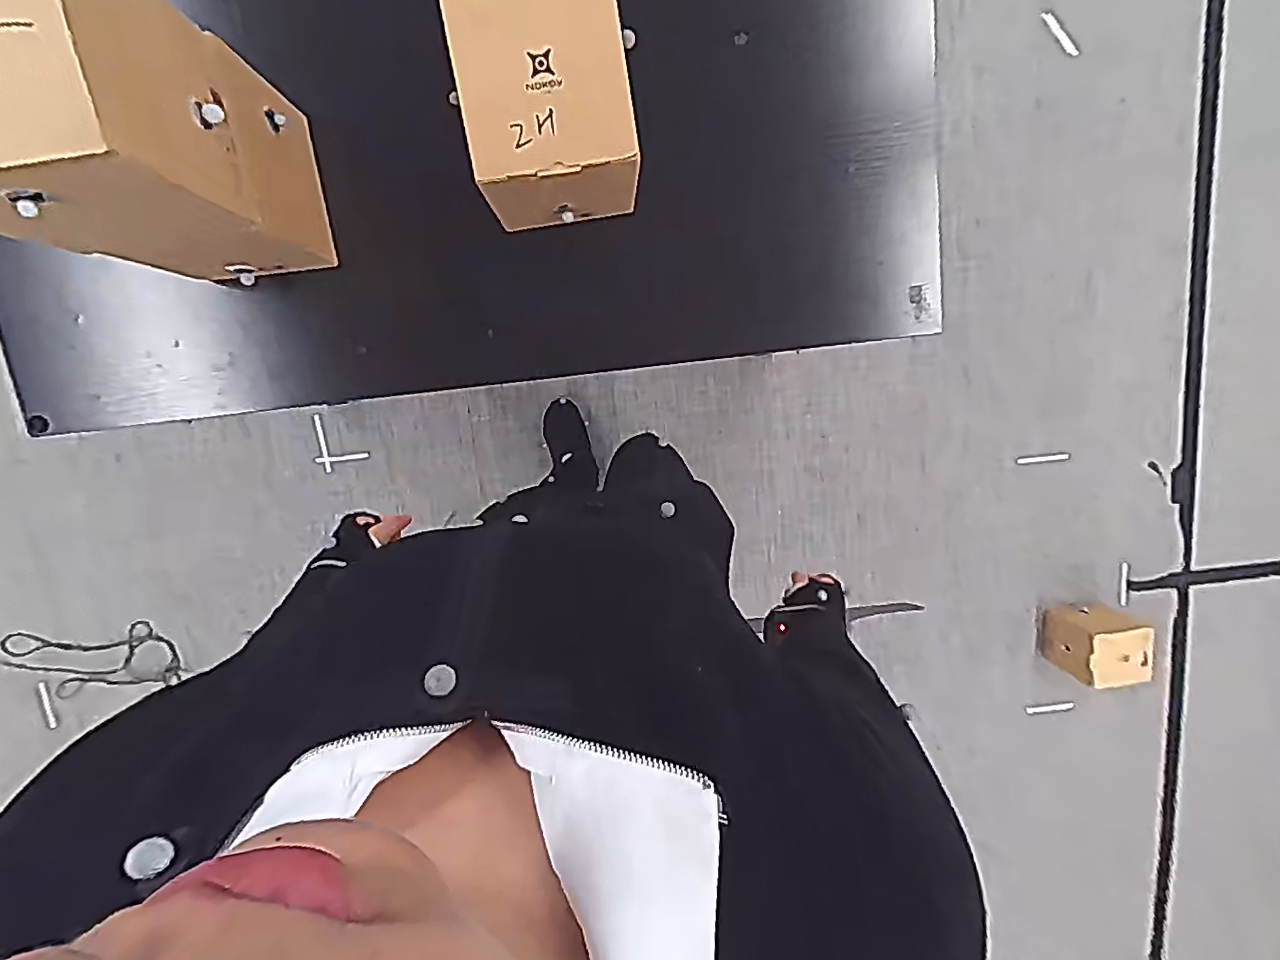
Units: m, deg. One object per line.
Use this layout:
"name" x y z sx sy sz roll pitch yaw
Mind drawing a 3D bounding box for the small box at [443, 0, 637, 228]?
"small box" -0.100 -0.404 0.599 0.168 0.176 0.179 -9 100 -1

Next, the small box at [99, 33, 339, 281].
"small box" -0.466 -0.332 0.591 0.168 0.176 0.179 -8 101 -1

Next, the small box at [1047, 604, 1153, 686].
"small box" 1.328 0.474 1.573 0.179 0.176 0.168 -6 100 -1

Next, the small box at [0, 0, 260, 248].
"small box" -0.458 -0.299 0.429 0.179 0.176 0.168 -10 100 -2
